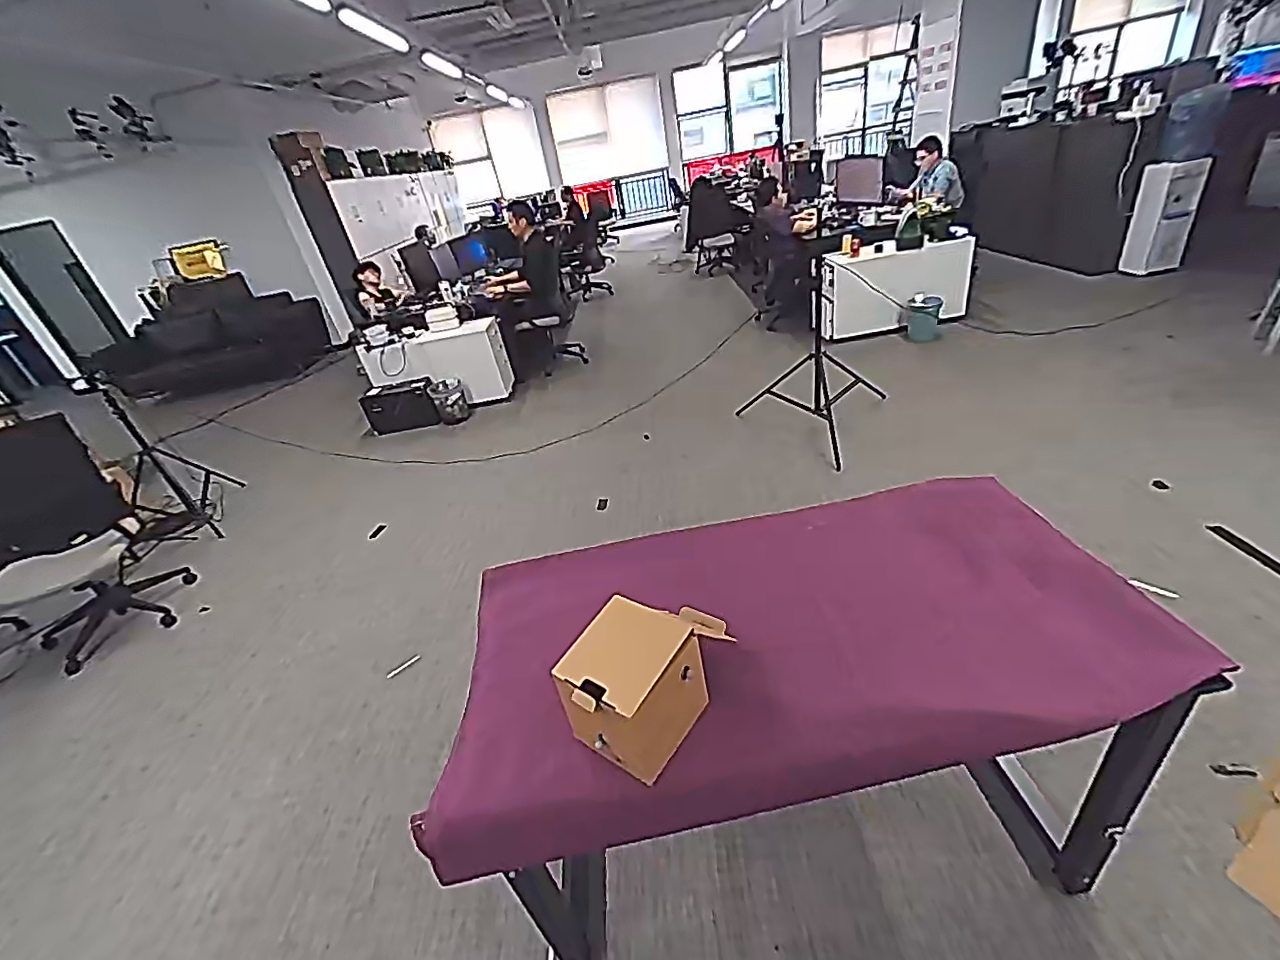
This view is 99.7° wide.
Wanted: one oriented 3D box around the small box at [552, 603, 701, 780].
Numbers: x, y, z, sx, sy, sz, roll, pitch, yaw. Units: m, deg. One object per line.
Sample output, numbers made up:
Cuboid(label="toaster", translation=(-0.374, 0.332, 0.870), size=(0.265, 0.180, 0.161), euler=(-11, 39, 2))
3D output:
Cuboid(label="small box", translation=(-0.012, 0.341, 0.890), size=(0.168, 0.176, 0.179), euler=(13, 38, 37))
